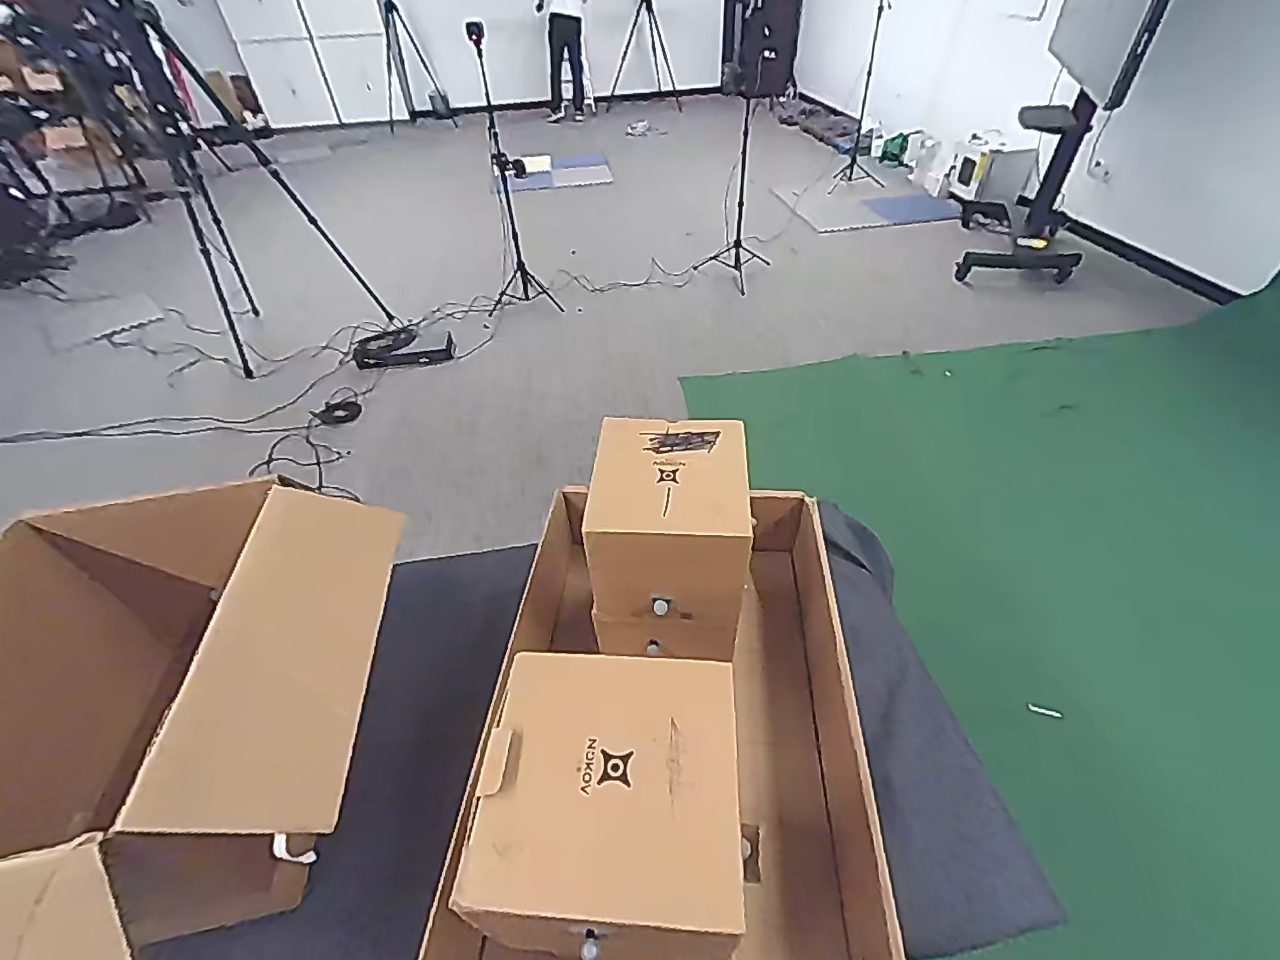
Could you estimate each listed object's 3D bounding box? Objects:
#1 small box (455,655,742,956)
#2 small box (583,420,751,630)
[{"bbox_3d":[-0.017,0.258,0.429,0.179,0.176,0.168,2,45,4],"label":"small box"},{"bbox_3d":[0.035,0.051,0.632,0.168,0.176,0.179,2,46,5],"label":"small box"}]
